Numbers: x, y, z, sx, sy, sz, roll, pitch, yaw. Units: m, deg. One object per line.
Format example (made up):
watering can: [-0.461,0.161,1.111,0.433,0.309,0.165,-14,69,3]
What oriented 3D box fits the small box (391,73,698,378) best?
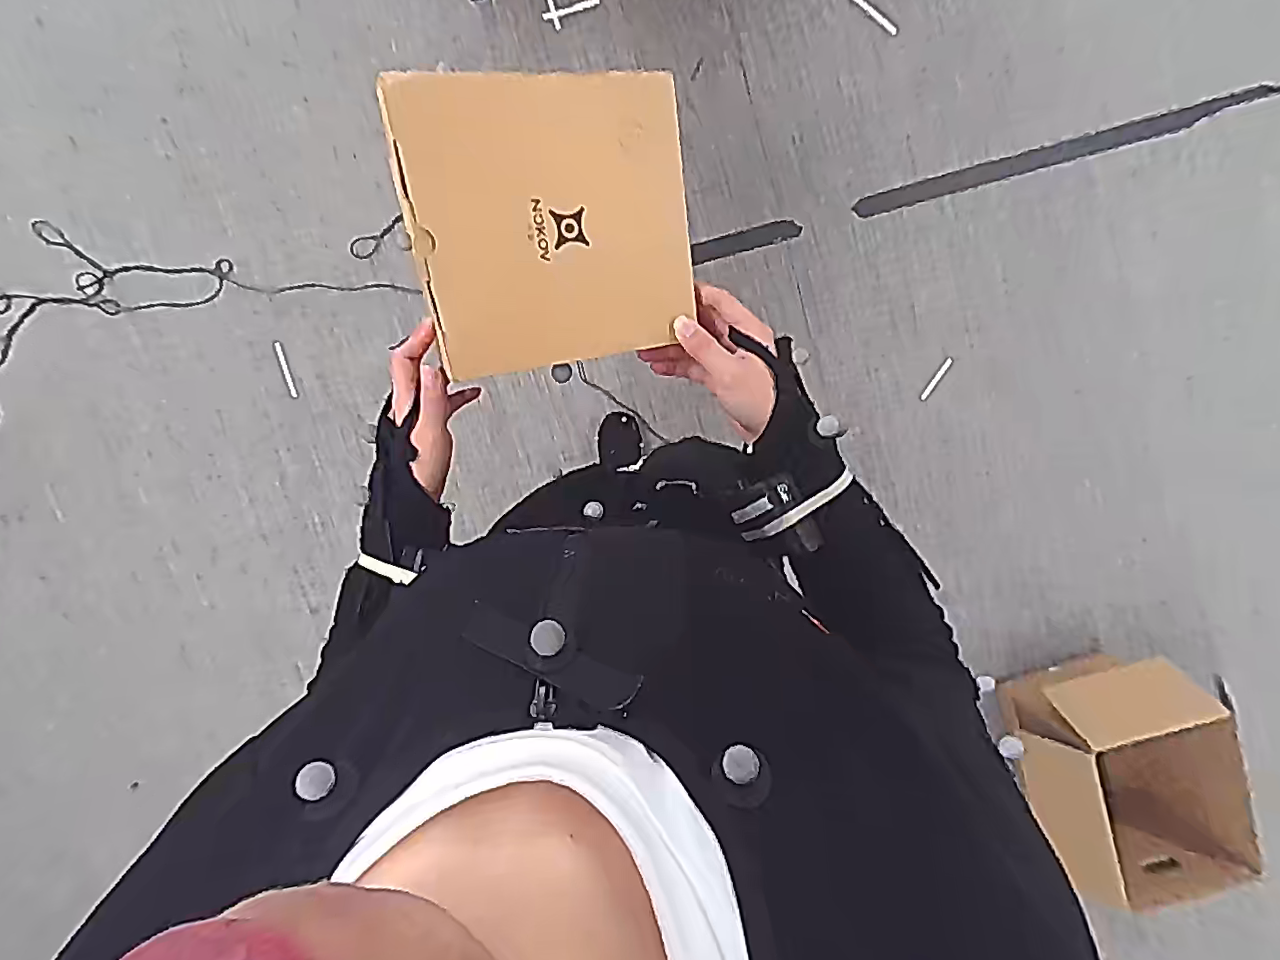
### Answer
small box: [-0.075,-0.181,0.412,0.179,0.176,0.168,-14,110,-17]
